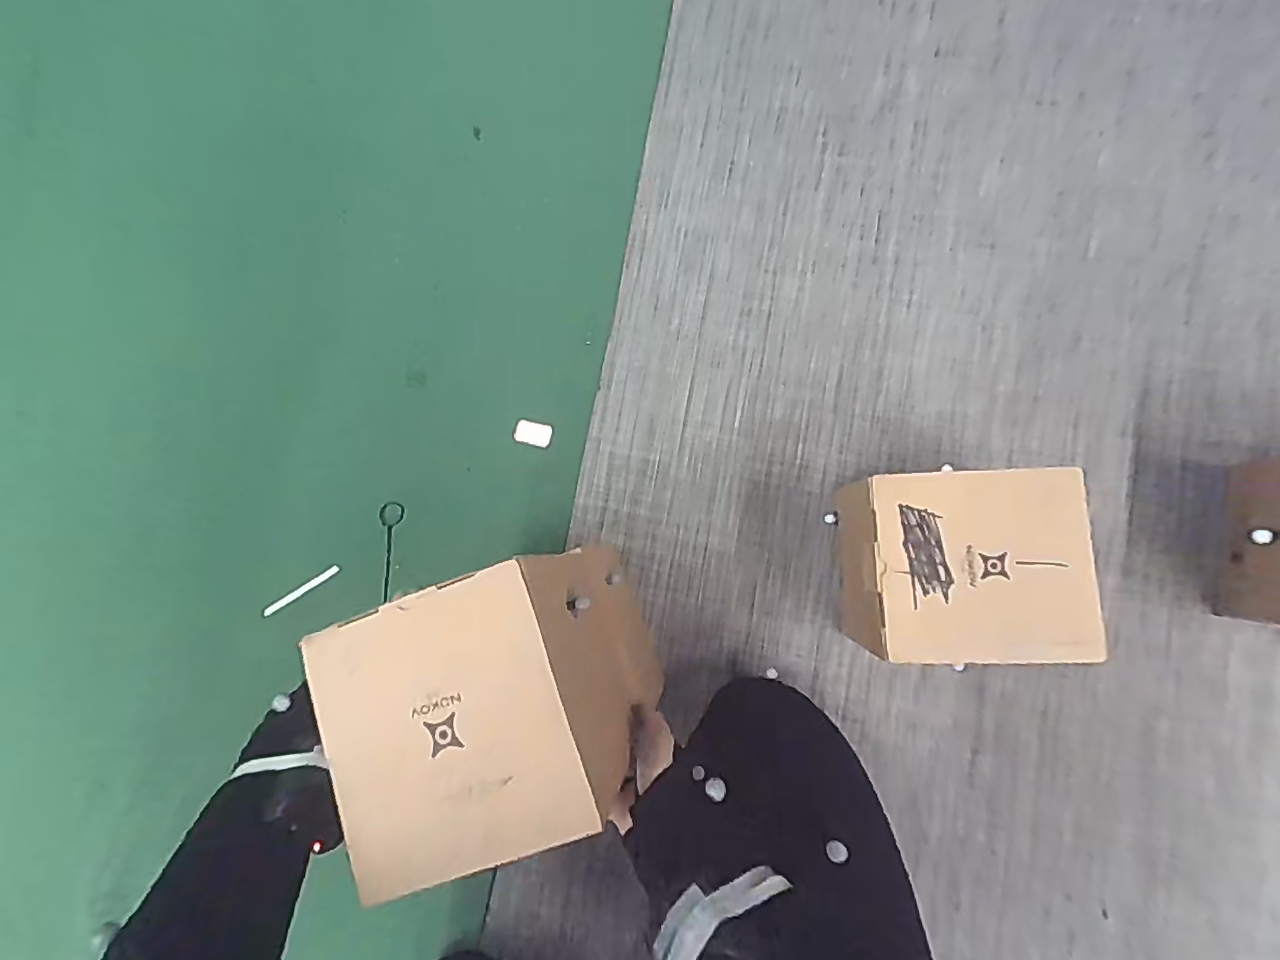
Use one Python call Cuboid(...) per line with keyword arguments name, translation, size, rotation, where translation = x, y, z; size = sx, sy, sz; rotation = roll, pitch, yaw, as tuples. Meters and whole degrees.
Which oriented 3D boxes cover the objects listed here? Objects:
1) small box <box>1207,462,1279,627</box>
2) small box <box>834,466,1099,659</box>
Cuboid(name="small box", translation=(0.697, 0.068, 0.495), size=(0.179, 0.176, 0.168), rotation=(10, 83, 9))
Cuboid(name="small box", translation=(0.303, 0.082, 0.547), size=(0.179, 0.176, 0.168), rotation=(-3, 82, 7))
